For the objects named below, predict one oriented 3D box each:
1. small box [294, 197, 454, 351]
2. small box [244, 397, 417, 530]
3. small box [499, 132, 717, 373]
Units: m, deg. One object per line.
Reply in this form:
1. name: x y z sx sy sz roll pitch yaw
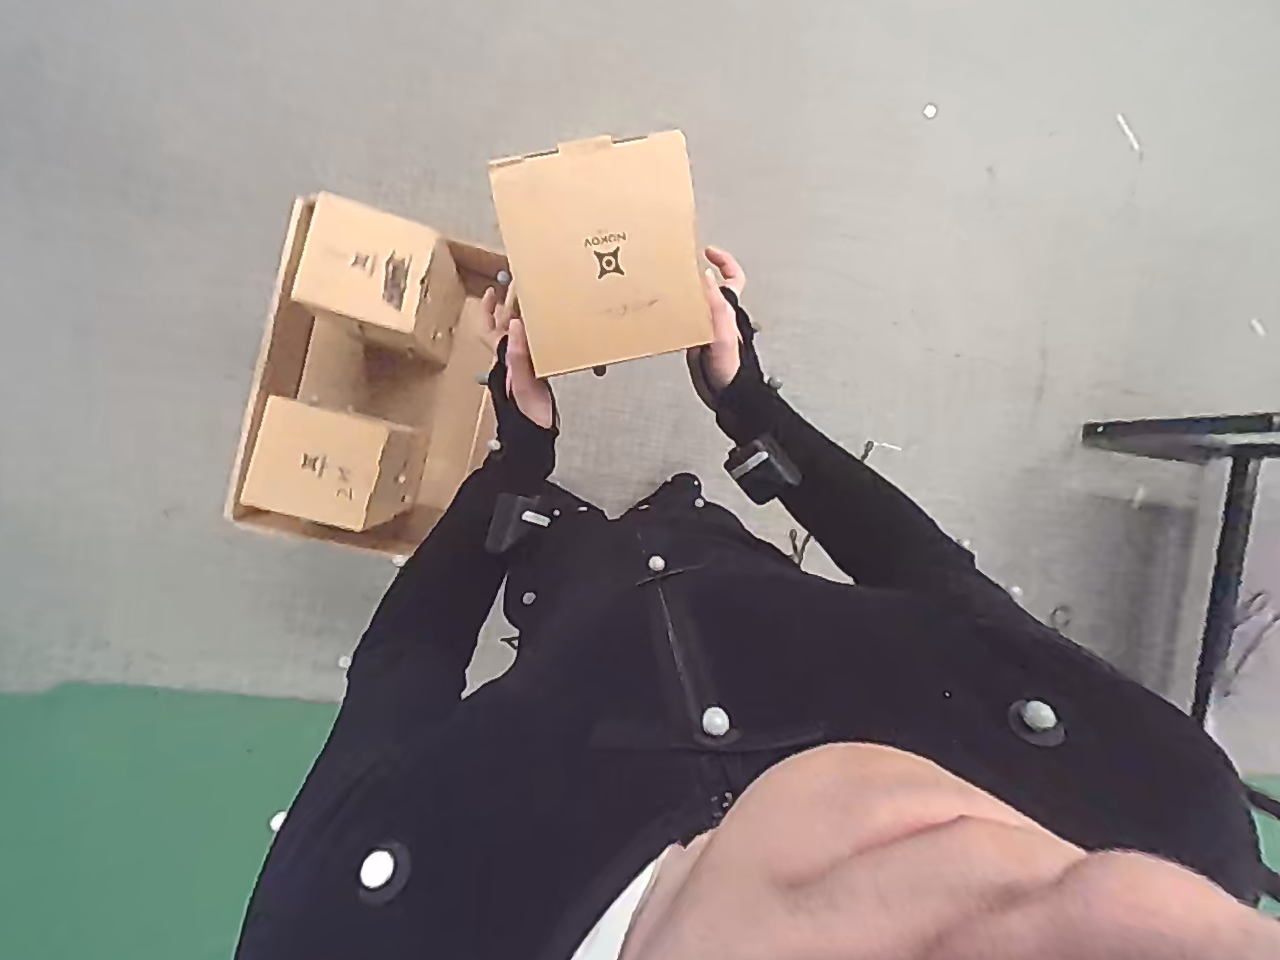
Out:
1. small box: -0.422 -0.323 0.892 0.179 0.176 0.168 15 89 -9
2. small box: -0.494 -0.025 0.890 0.179 0.176 0.168 16 90 -9
3. small box: -0.033 -0.208 0.534 0.168 0.176 0.179 -11 106 -4
